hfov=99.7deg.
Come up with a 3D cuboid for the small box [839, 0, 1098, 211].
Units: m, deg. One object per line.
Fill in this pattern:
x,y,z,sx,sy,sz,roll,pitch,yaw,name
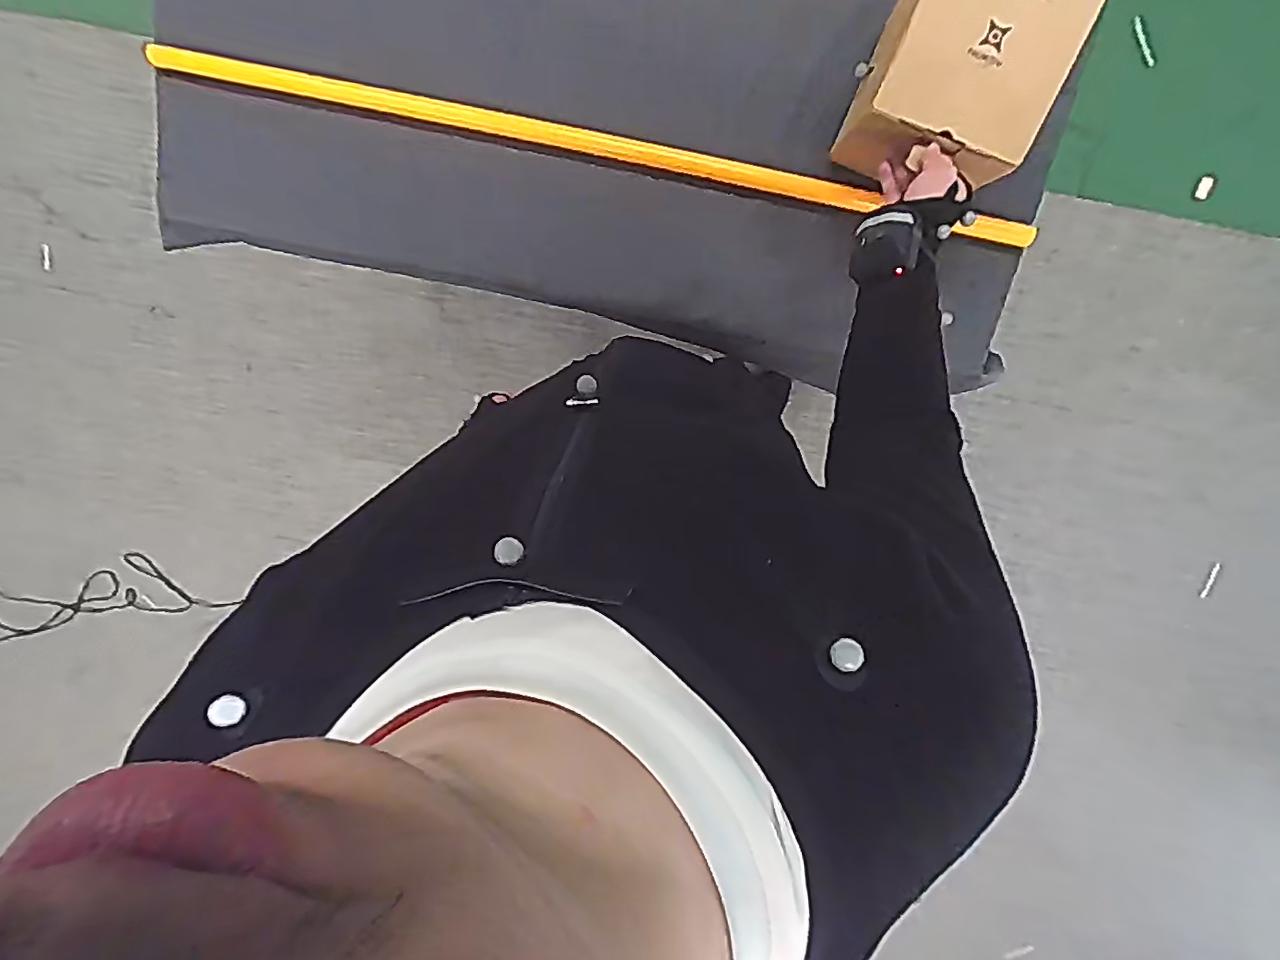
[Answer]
0.349,-0.437,0.621,0.168,0.176,0.179,19,104,1,small box
